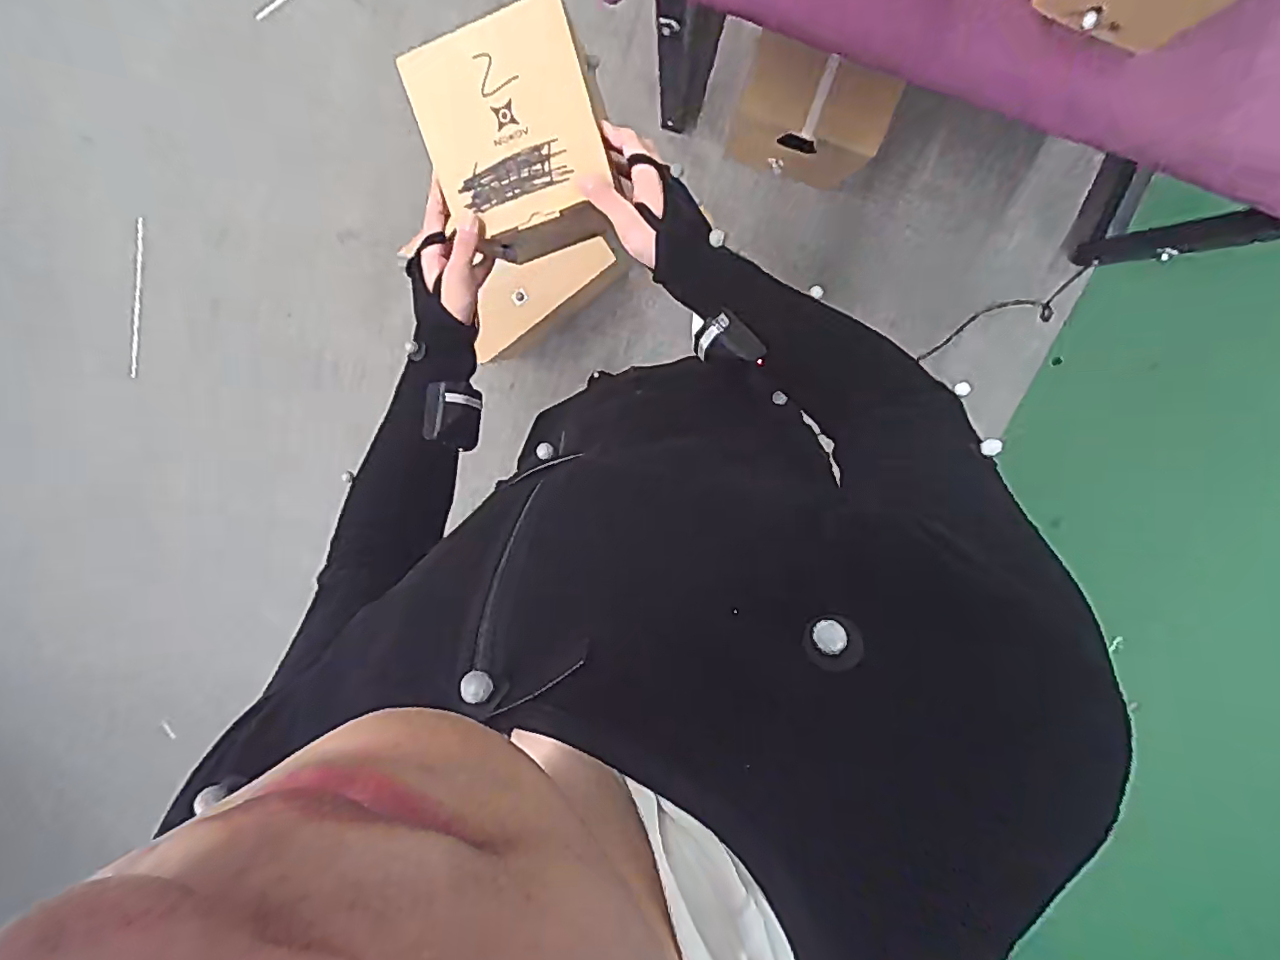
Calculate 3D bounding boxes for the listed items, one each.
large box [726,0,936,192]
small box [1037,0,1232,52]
[{"bbox_3d":[0.407,-0.928,1.203,0.320,0.320,0.408,18,105,-2],"label":"large box"},{"bbox_3d":[0.588,-0.626,0.587,0.168,0.176,0.179,20,105,-1],"label":"small box"}]
